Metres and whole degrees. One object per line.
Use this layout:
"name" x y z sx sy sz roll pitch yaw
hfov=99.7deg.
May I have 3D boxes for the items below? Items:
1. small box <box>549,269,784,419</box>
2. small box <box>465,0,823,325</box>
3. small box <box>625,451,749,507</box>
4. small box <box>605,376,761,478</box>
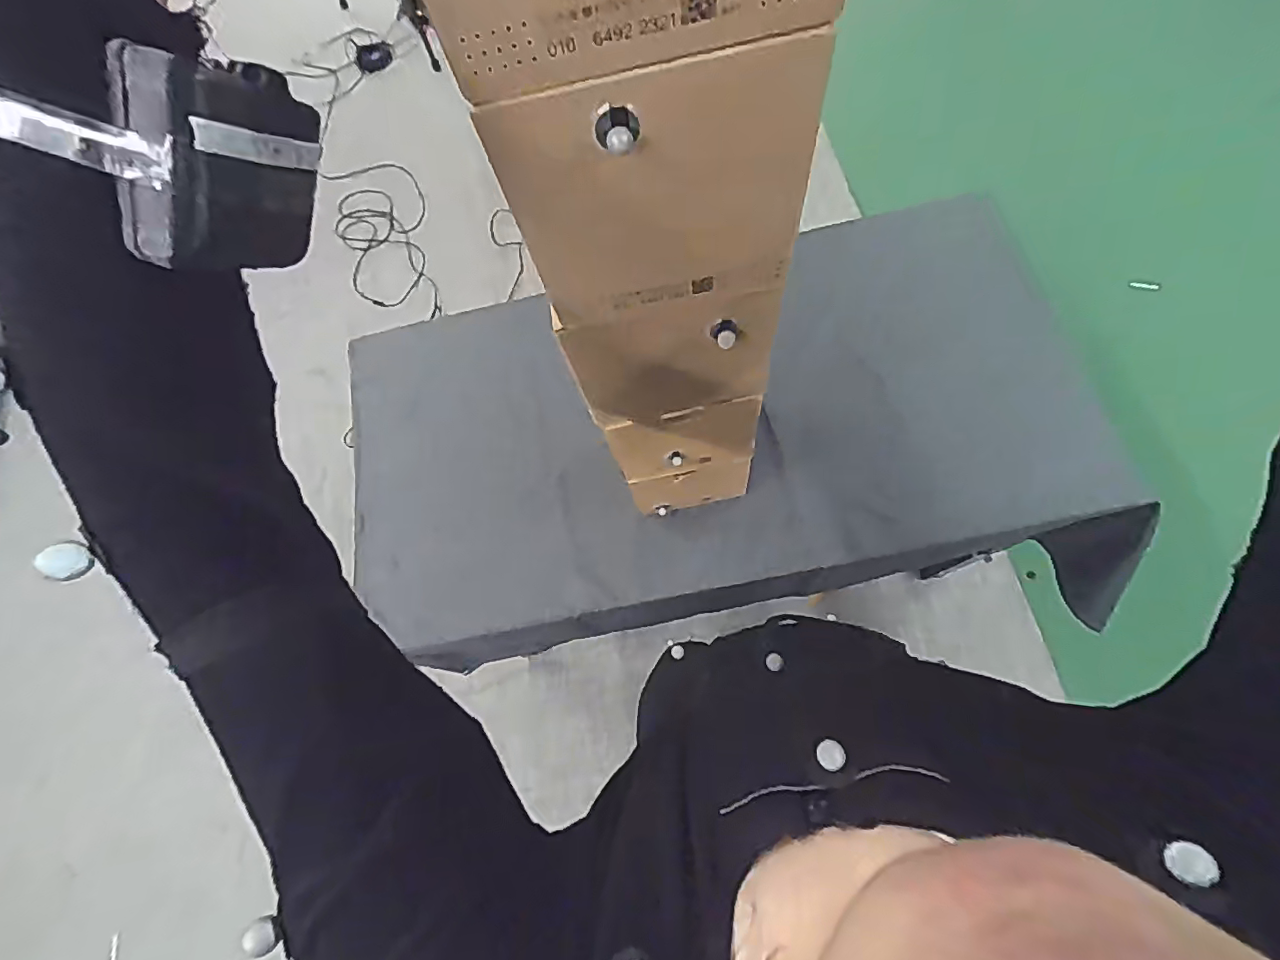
"small box" 0.020 -0.175 0.500 0.179 0.176 0.168 -11 69 4
"small box" 0.001 -0.231 0.348 0.168 0.176 0.179 -10 69 5
"small box" 0.062 -0.069 0.806 0.168 0.176 0.179 -13 68 4
"small box" 0.040 -0.122 0.655 0.168 0.176 0.179 -12 69 4
